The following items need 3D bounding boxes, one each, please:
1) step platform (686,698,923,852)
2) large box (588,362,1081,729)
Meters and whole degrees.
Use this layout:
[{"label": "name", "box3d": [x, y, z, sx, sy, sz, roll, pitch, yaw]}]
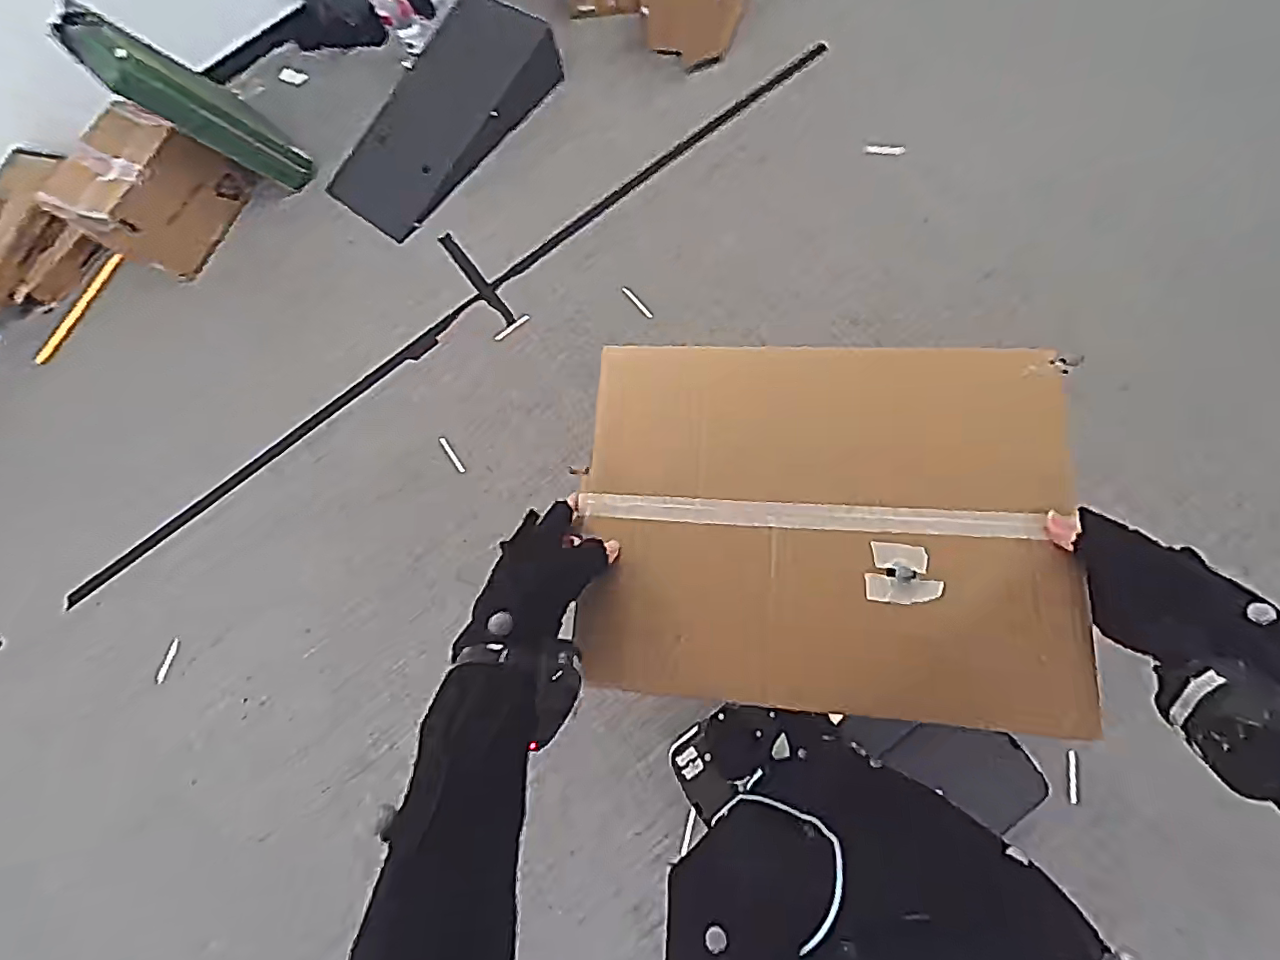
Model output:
[{"label": "step platform", "box3d": [0.440, 0.543, 1.306, 0.684, 0.204, 0.286, -39, 71, -5]}, {"label": "large box", "box3d": [0.179, 0.071, 0.625, 0.408, 0.320, 0.320, 3, 78, 10]}]
